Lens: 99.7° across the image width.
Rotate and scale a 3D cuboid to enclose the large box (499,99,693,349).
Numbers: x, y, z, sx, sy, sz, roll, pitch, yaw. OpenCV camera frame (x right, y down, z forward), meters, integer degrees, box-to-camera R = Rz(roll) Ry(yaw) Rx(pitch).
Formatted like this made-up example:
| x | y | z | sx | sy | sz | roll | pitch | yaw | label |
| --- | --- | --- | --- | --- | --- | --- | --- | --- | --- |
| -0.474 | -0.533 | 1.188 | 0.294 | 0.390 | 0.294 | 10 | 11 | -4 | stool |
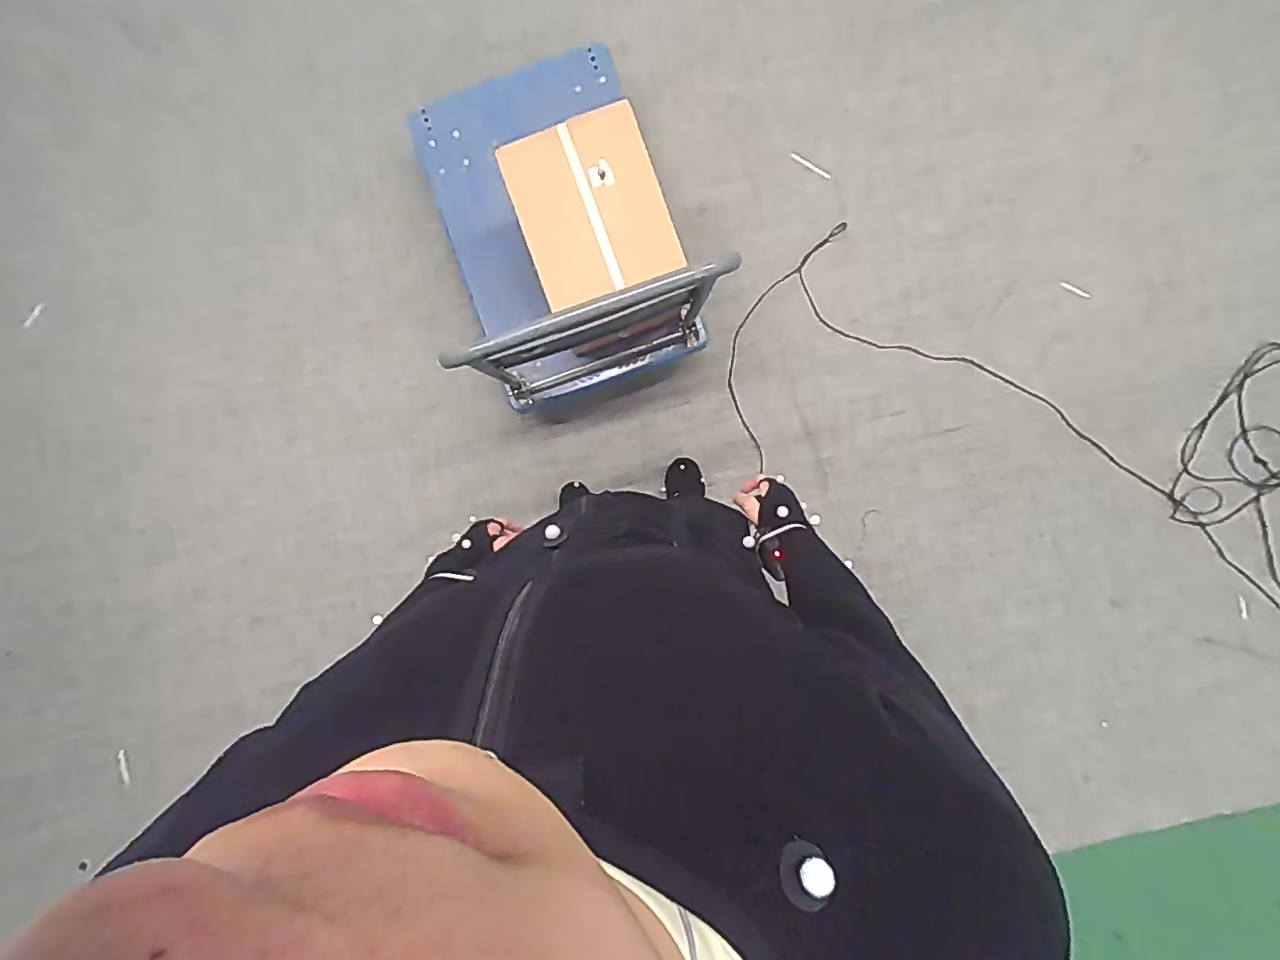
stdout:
| x | y | z | sx | sy | sz | roll | pitch | yaw | label |
| --- | --- | --- | --- | --- | --- | --- | --- | --- | --- |
| -0.091 | -0.587 | 1.315 | 0.320 | 0.320 | 0.408 | -20 | 91 | 1 | large box |
